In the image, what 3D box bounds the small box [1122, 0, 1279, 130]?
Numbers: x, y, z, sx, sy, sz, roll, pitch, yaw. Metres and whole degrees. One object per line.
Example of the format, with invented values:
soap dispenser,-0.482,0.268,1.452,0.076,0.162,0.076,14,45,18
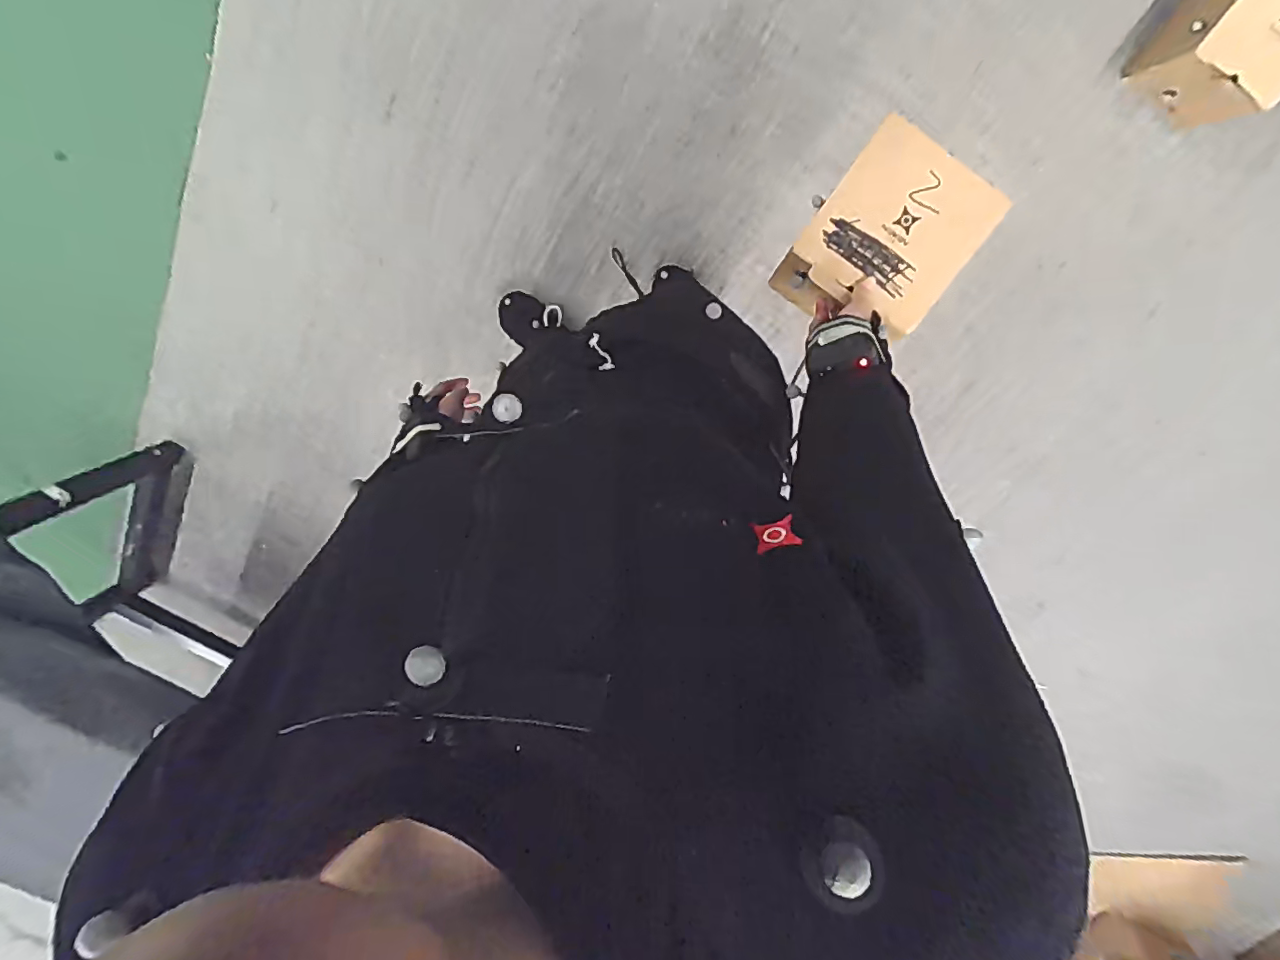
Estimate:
small box,0.978,-0.723,0.896,0.168,0.176,0.179,29,114,-7
